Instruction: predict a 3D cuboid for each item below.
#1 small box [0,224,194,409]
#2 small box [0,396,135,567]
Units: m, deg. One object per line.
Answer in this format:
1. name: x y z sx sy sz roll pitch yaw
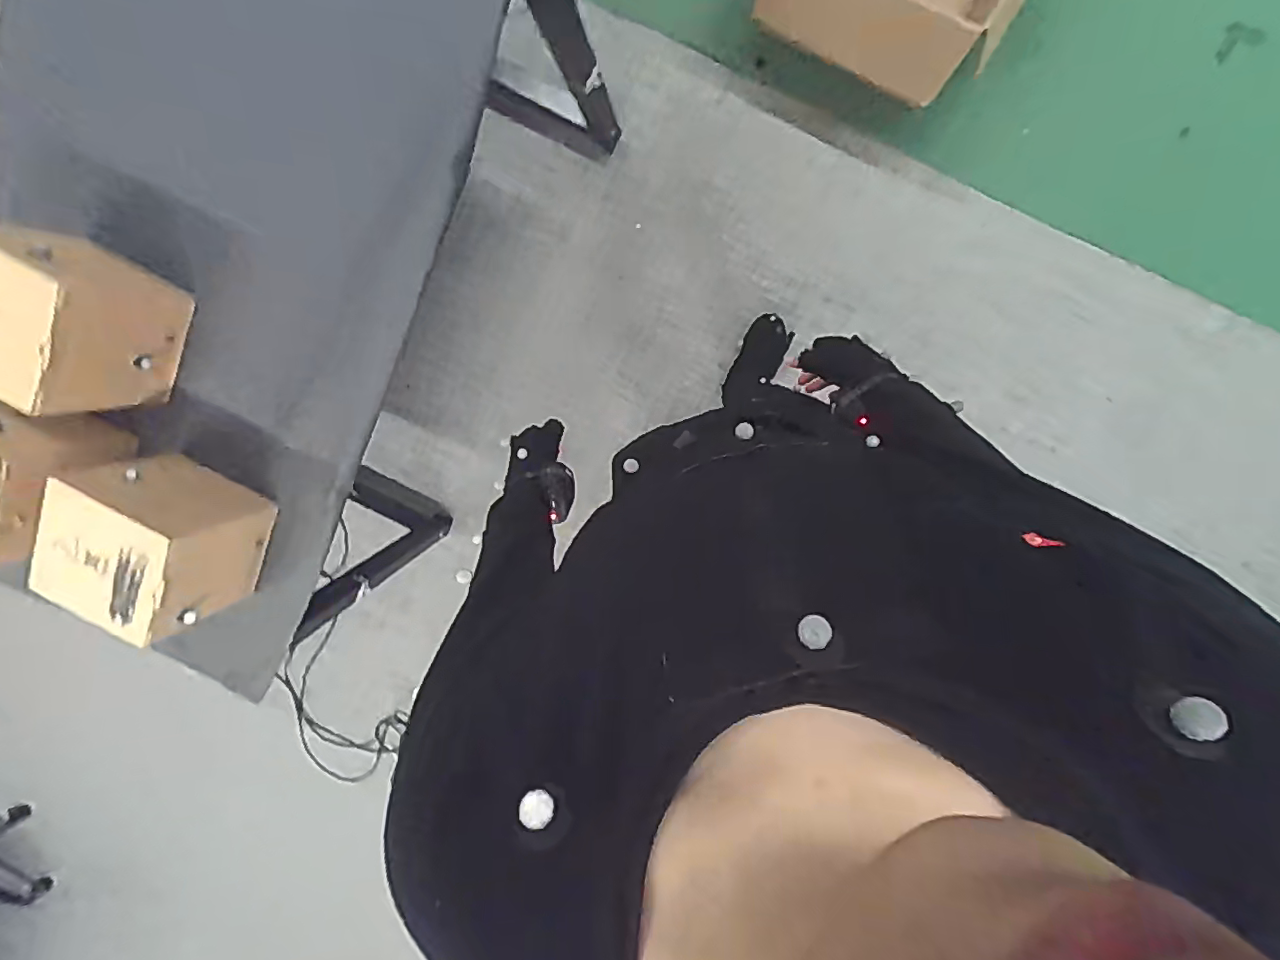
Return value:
1. small box: -0.739 -0.207 0.692 0.179 0.176 0.168 28 104 -2
2. small box: -0.865 -0.011 0.750 0.179 0.176 0.168 25 104 1
